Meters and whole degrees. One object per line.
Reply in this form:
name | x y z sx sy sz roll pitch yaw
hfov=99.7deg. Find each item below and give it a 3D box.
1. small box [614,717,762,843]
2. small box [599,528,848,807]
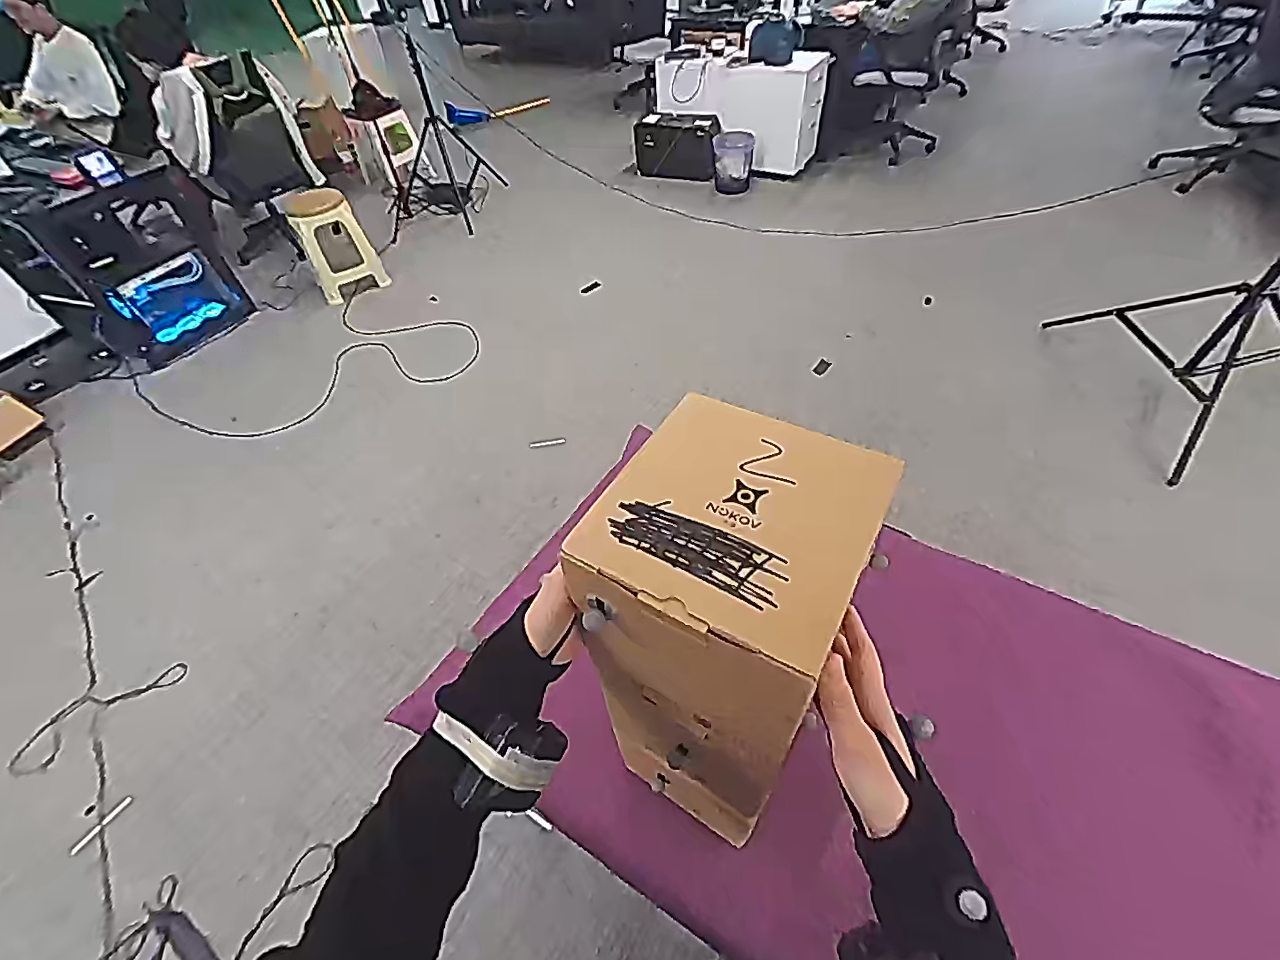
small box | 0.091 0.299 0.655 0.168 0.176 0.179 25 55 24
small box | 0.083 0.187 0.536 0.168 0.176 0.179 23 55 22
